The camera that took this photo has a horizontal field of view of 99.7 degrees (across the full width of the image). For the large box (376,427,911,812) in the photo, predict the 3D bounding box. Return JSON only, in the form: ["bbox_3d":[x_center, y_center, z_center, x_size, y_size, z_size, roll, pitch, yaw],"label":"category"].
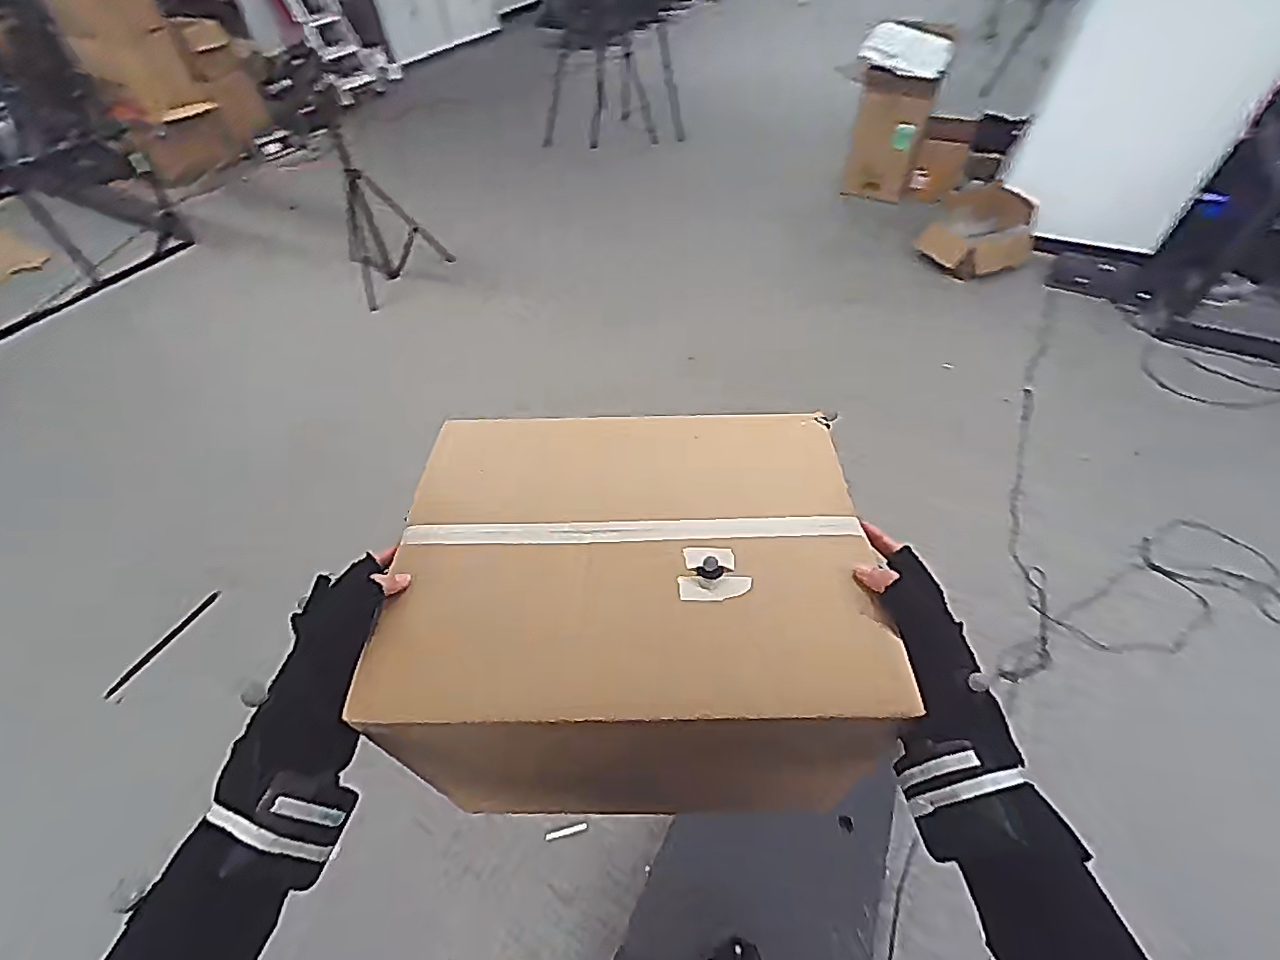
[{"bbox_3d":[0.003,0.158,0.603,0.408,0.320,0.320,-1,48,2],"label":"large box"}]
